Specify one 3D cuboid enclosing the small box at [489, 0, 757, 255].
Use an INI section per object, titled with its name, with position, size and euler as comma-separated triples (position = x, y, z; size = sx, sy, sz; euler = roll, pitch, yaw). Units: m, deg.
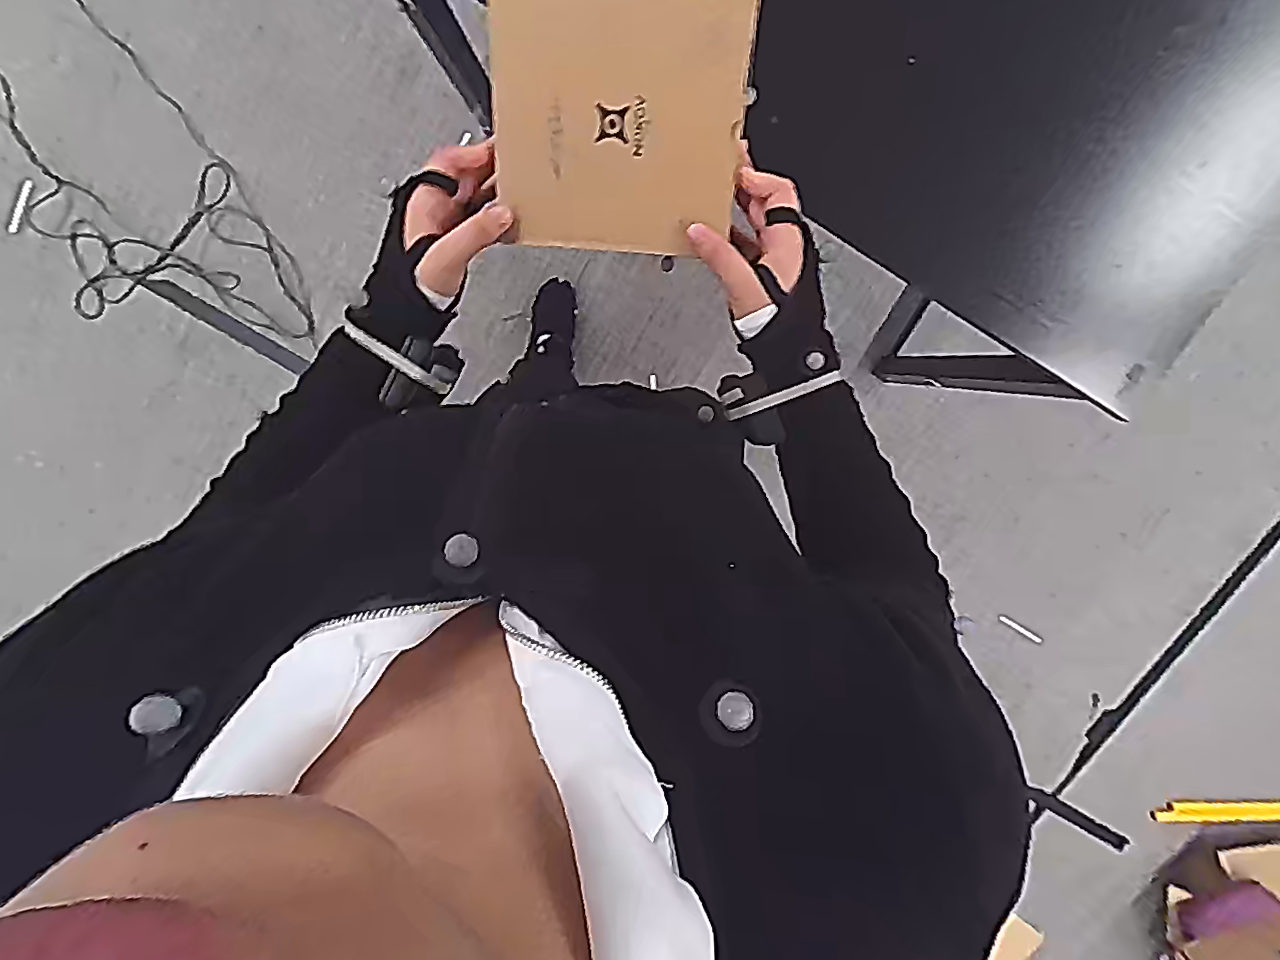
[small box]
position = -0.014, -0.285, 0.449
size = 0.179, 0.176, 0.168
euler = 4, 114, 1
